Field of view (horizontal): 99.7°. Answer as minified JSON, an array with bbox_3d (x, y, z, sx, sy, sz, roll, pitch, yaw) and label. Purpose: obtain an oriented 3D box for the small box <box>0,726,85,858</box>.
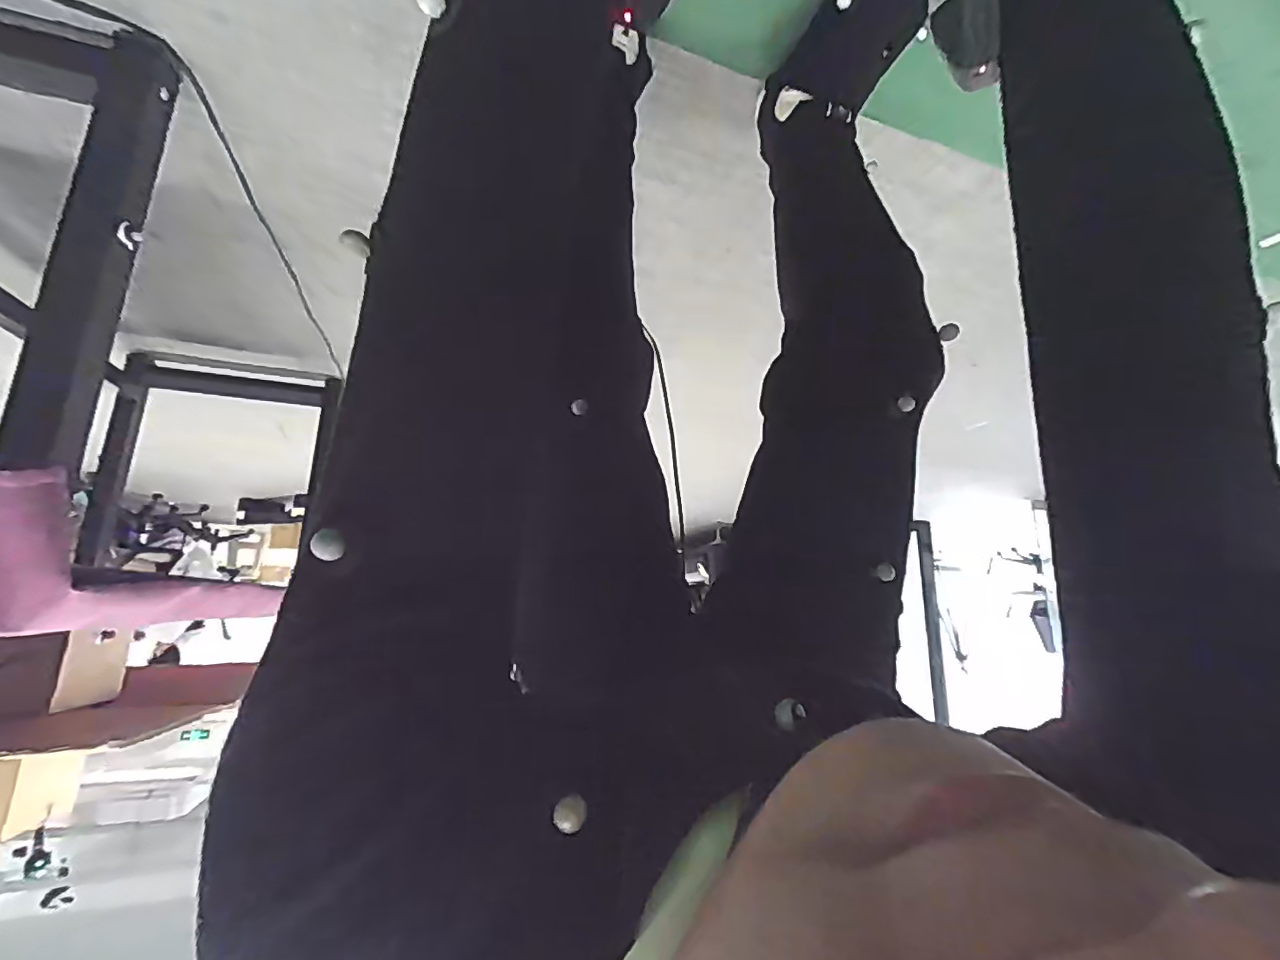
[{"bbox_3d":[-1.074,0.507,0.888,0.179,0.176,0.168,5,163,-15],"label":"small box"}]
